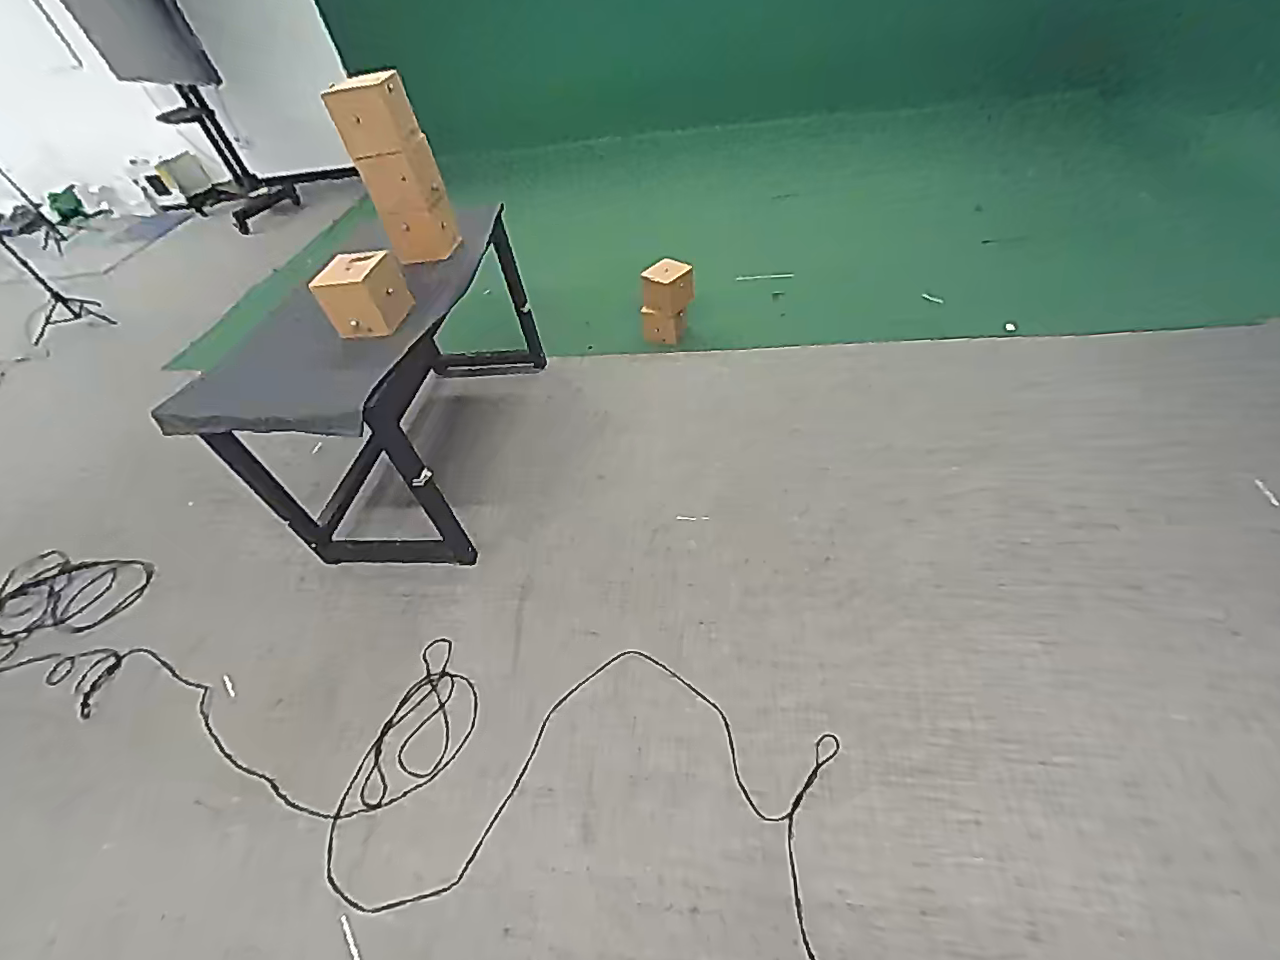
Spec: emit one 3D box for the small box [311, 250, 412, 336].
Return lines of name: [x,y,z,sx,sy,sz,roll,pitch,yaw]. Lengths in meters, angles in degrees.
small box: [-0.778,-0.529,1.537,0.168,0.176,0.179,0,49,11]

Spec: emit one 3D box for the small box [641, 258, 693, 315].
small box: [0.130,-0.884,2.474,0.168,0.176,0.179,33,60,31]

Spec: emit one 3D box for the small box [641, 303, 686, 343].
small box: [0.120,-0.780,2.603,0.168,0.176,0.179,13,52,20]

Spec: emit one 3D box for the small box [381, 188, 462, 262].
small box: [-0.729,-0.861,1.831,0.179,0.176,0.168,-1,48,10]

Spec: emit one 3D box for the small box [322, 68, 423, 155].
small box: [-0.776,-1.078,1.589,0.179,0.176,0.168,-4,48,9]
